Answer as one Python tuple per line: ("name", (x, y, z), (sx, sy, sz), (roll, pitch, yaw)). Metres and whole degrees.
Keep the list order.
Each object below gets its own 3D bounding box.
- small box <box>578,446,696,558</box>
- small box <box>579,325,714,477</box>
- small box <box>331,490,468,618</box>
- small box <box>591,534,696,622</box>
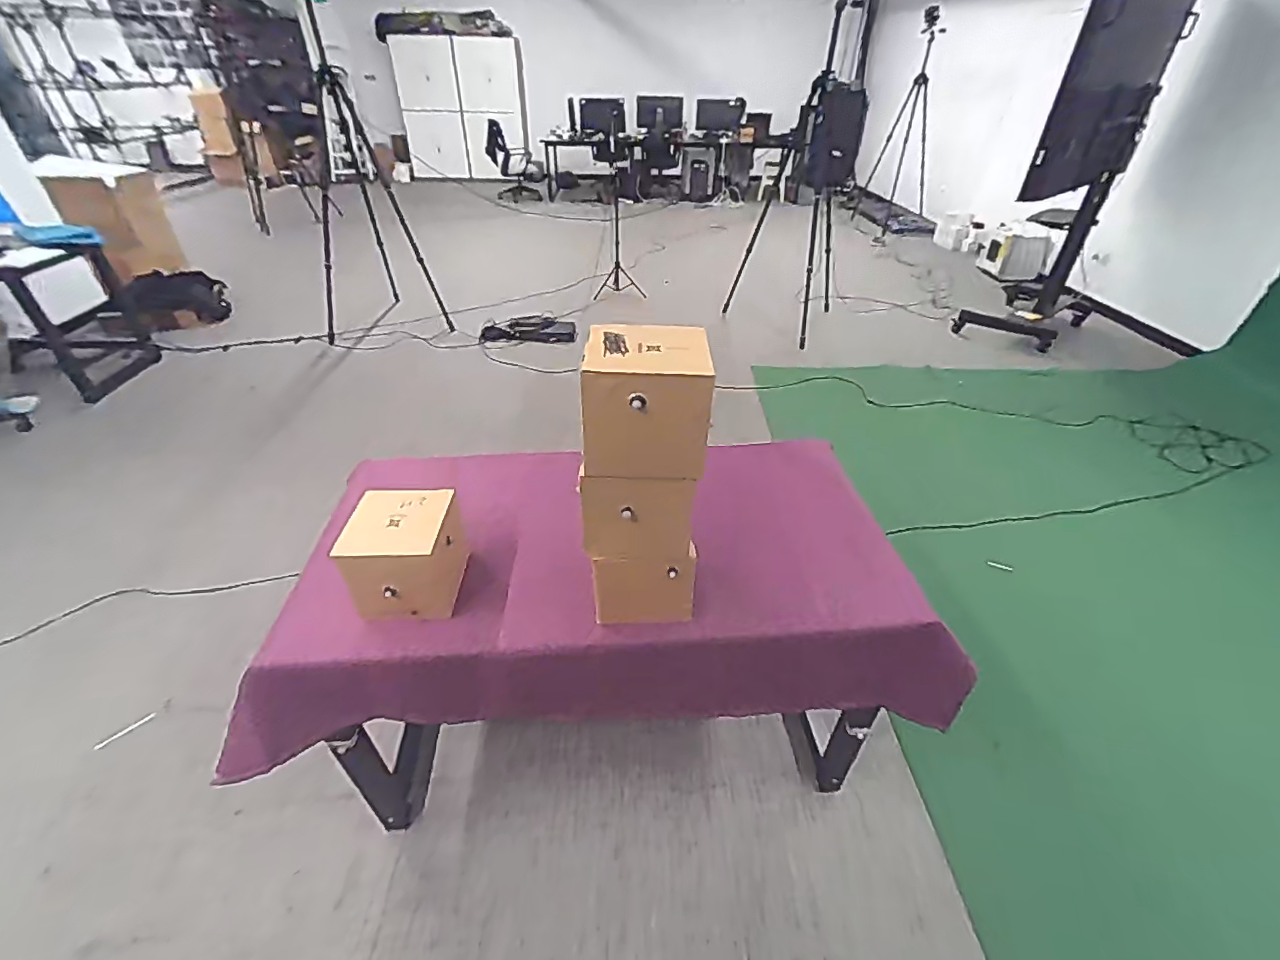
("small box", (-0.003, 0.014, 0.893), (0.179, 0.176, 0.168), (0, 37, 0))
("small box", (0.009, -0.116, 0.793), (0.179, 0.176, 0.168), (2, 37, 0))
("small box", (-0.425, 0.137, 0.993), (0.168, 0.176, 0.179), (0, 37, -2))
("small box", (0.003, 0.145, 0.993), (0.179, 0.176, 0.168), (-2, 37, -3))
